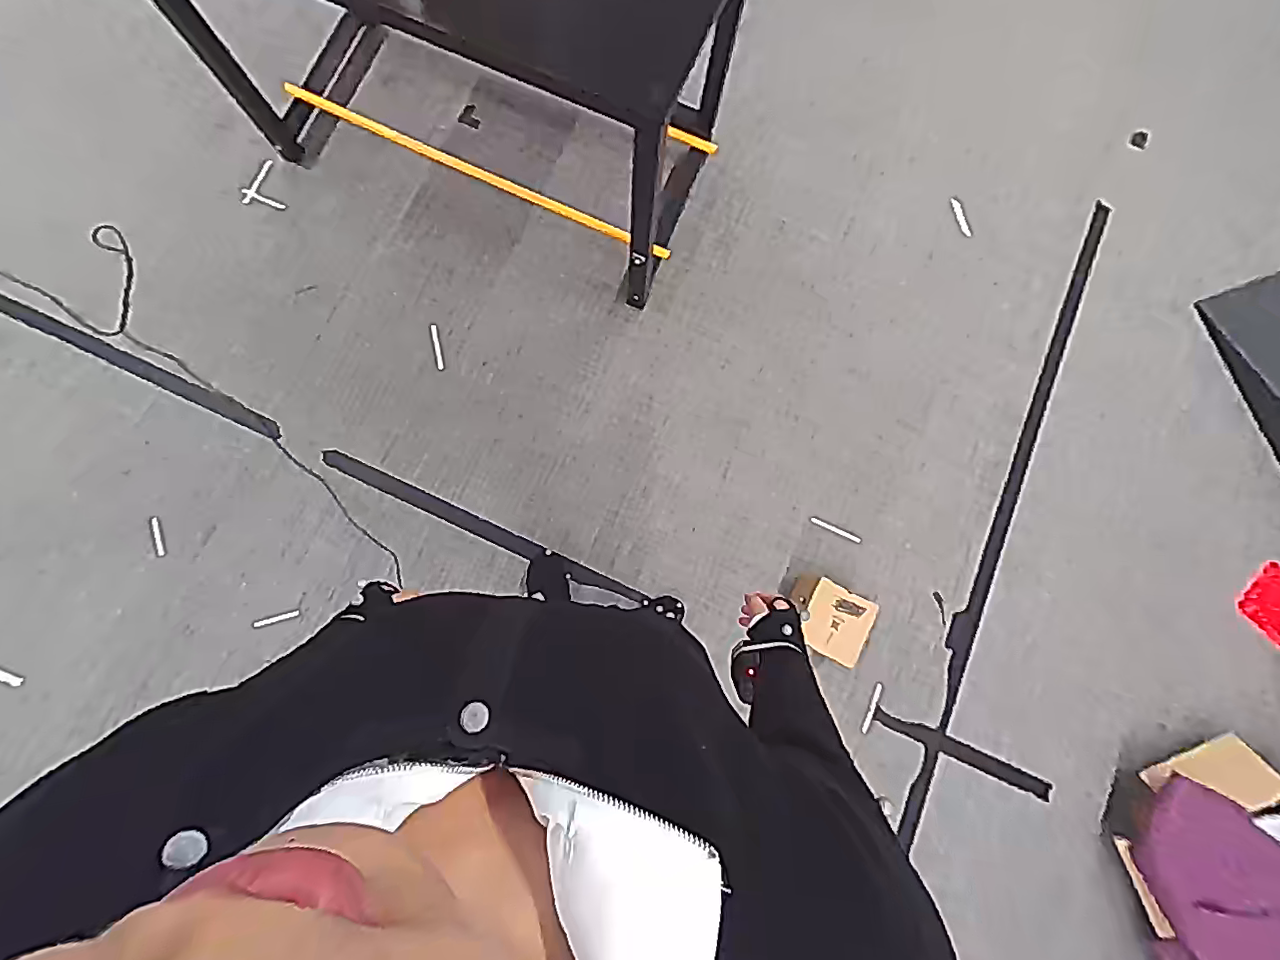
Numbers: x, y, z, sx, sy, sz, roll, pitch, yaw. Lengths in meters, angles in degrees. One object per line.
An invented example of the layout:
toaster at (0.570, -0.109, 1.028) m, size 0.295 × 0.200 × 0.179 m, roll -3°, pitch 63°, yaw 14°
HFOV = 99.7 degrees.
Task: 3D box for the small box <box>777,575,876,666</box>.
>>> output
small box at (0.485, 0.363, 1.436) m, size 0.168 × 0.176 × 0.179 m, roll 28°, pitch 82°, yaw 2°
